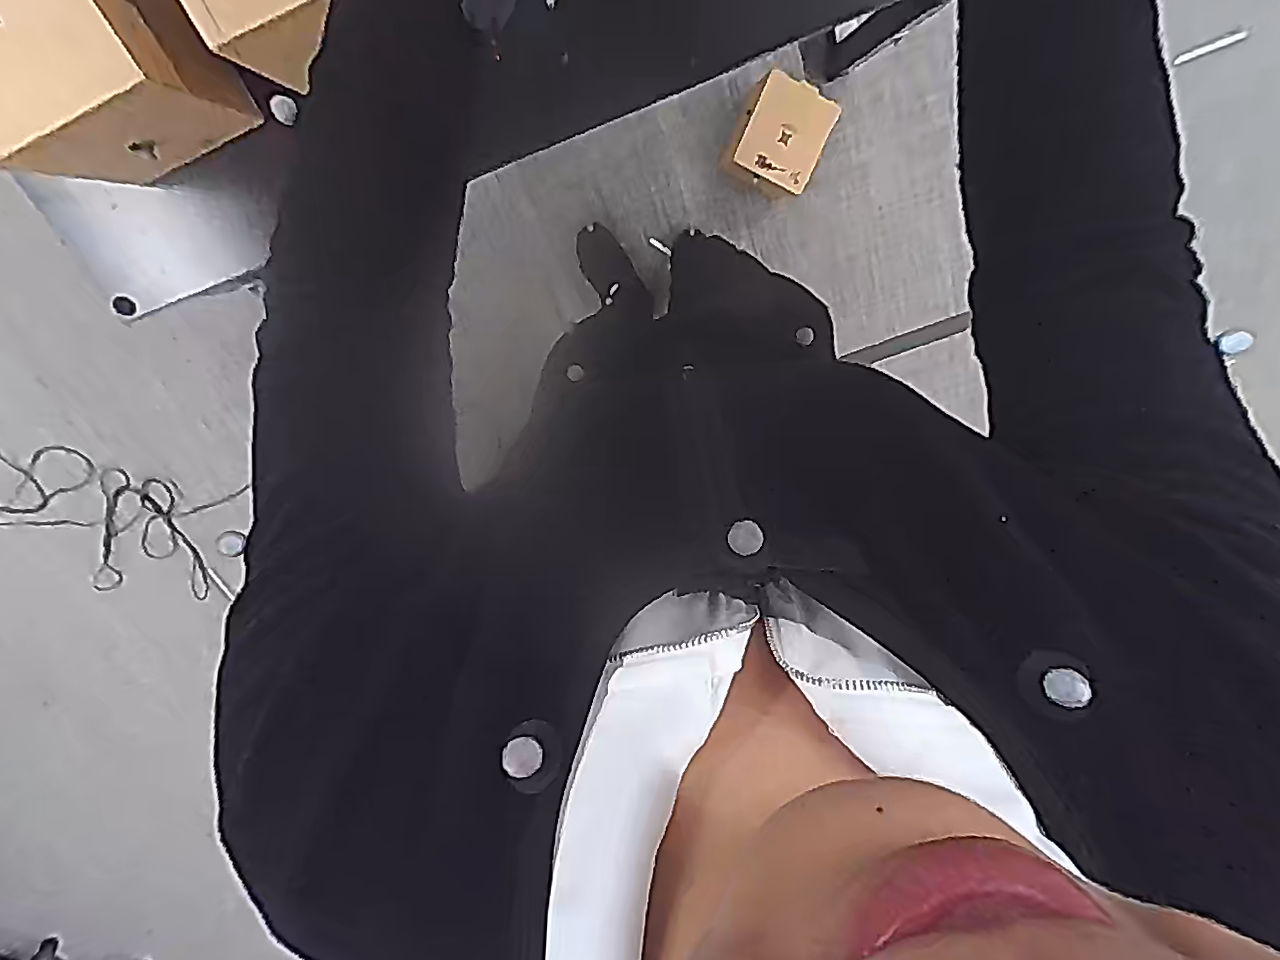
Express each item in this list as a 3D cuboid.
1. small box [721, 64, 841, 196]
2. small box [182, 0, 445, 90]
[{"bbox_3d":[0.291,-0.740,1.164,0.168,0.176,0.179,20,112,-12],"label":"small box"},{"bbox_3d":[-0.293,-0.470,0.451,0.168,0.176,0.179,-20,114,6],"label":"small box"}]
